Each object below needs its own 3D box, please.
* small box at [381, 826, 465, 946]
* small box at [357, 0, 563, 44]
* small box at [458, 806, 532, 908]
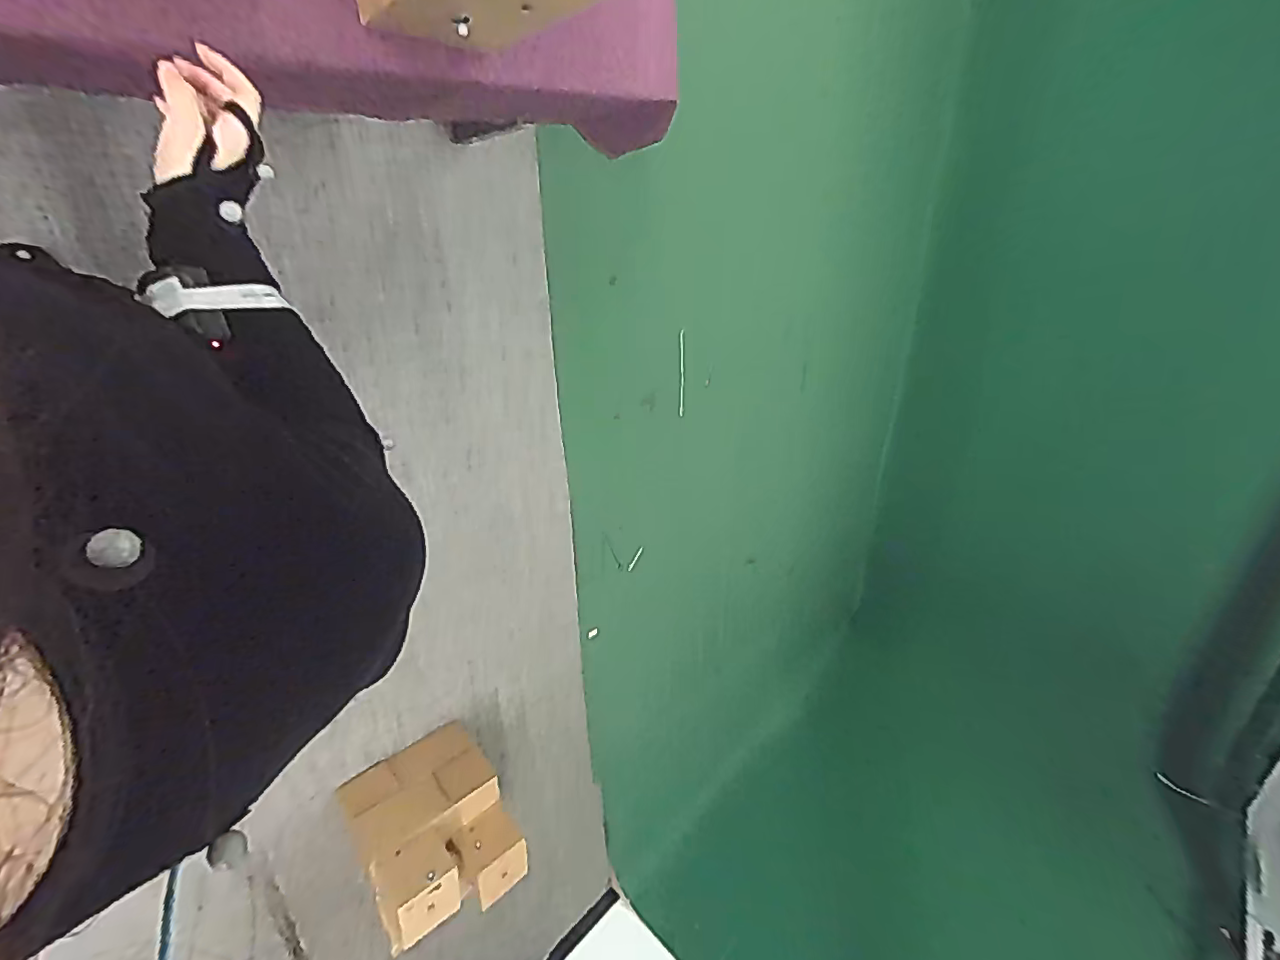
[{"bbox_3d":[-0.613,1.137,1.528,0.168,0.176,0.179,-17,120,-41],"label":"small box"},{"bbox_3d":[-0.209,-0.612,0.596,0.179,0.176,0.168,-23,121,-38],"label":"small box"},{"bbox_3d":[-0.462,1.181,1.716,0.168,0.176,0.179,-20,122,-41],"label":"small box"}]
